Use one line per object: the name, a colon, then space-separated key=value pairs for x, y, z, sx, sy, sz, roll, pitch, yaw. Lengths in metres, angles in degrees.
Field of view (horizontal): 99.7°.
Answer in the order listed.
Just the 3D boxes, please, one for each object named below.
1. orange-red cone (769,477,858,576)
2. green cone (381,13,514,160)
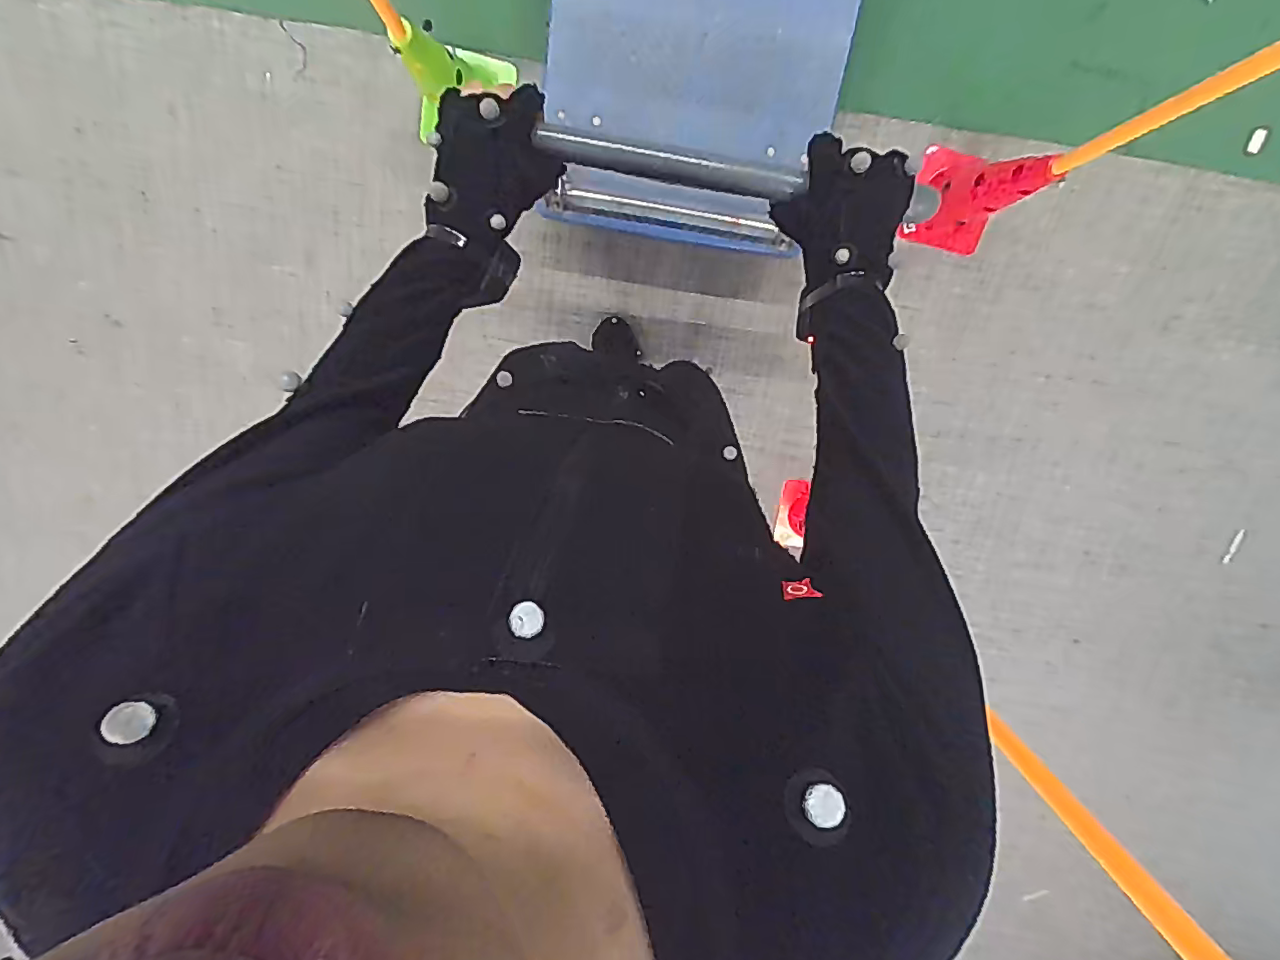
orange-red cone: x=0.469 y=0.146 z=1.363 sx=0.199 sy=0.360 sz=0.198 roll=9 pitch=108 yaw=0
green cone: x=-0.397 y=-0.802 z=1.058 sx=0.202 sy=0.368 sz=0.200 roll=13 pitch=107 yaw=-3
